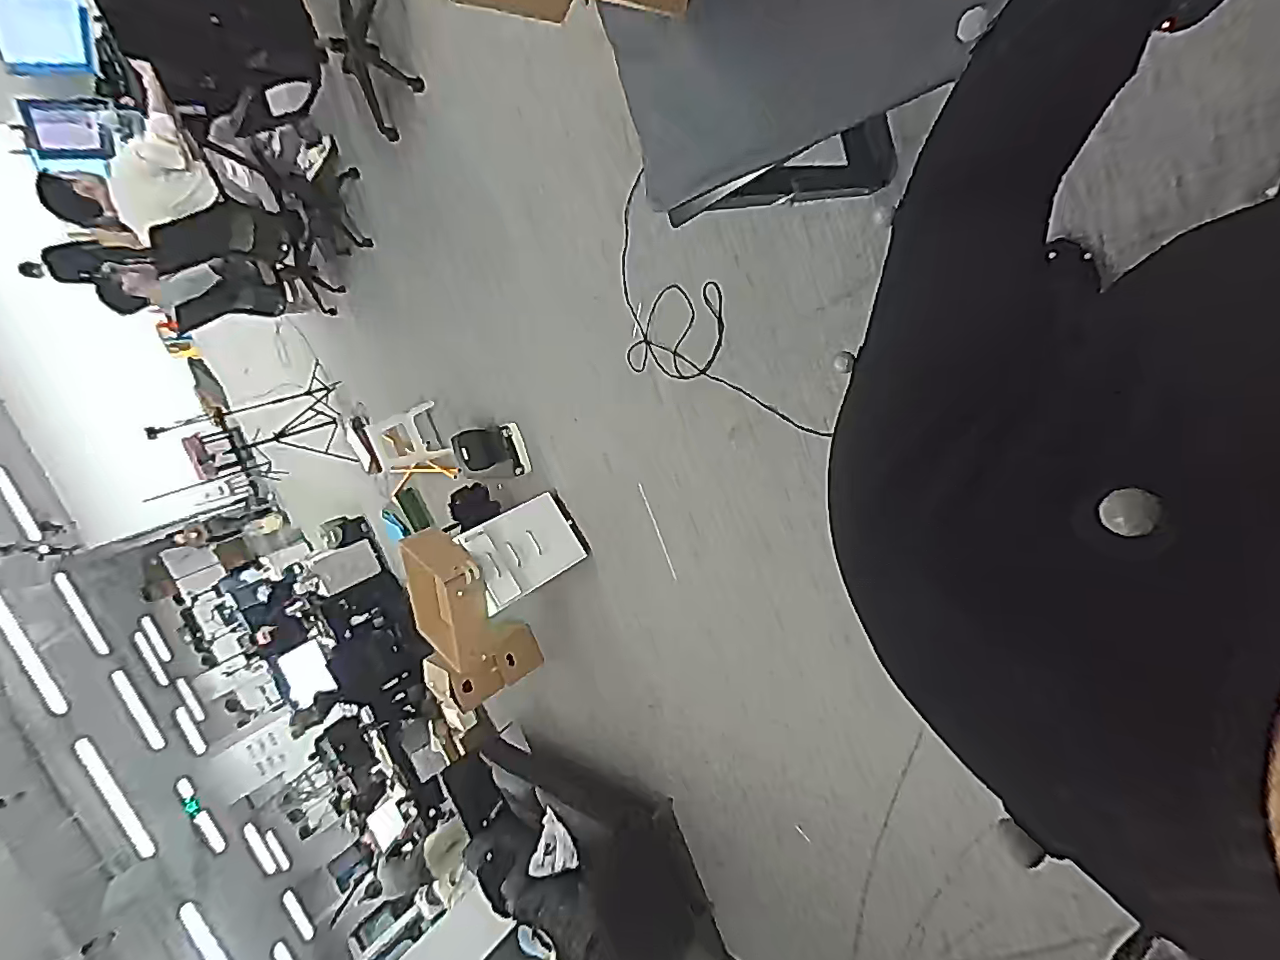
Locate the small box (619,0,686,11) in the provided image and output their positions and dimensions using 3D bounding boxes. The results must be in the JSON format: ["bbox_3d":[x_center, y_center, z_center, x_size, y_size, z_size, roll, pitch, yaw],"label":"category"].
[{"bbox_3d":[-0.035,-0.724,0.685,0.179,0.176,0.168,37,135,26],"label":"small box"}]

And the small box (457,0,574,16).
[{"bbox_3d":[-0.146,-0.658,0.582,0.168,0.176,0.179,58,142,2],"label":"small box"}]
